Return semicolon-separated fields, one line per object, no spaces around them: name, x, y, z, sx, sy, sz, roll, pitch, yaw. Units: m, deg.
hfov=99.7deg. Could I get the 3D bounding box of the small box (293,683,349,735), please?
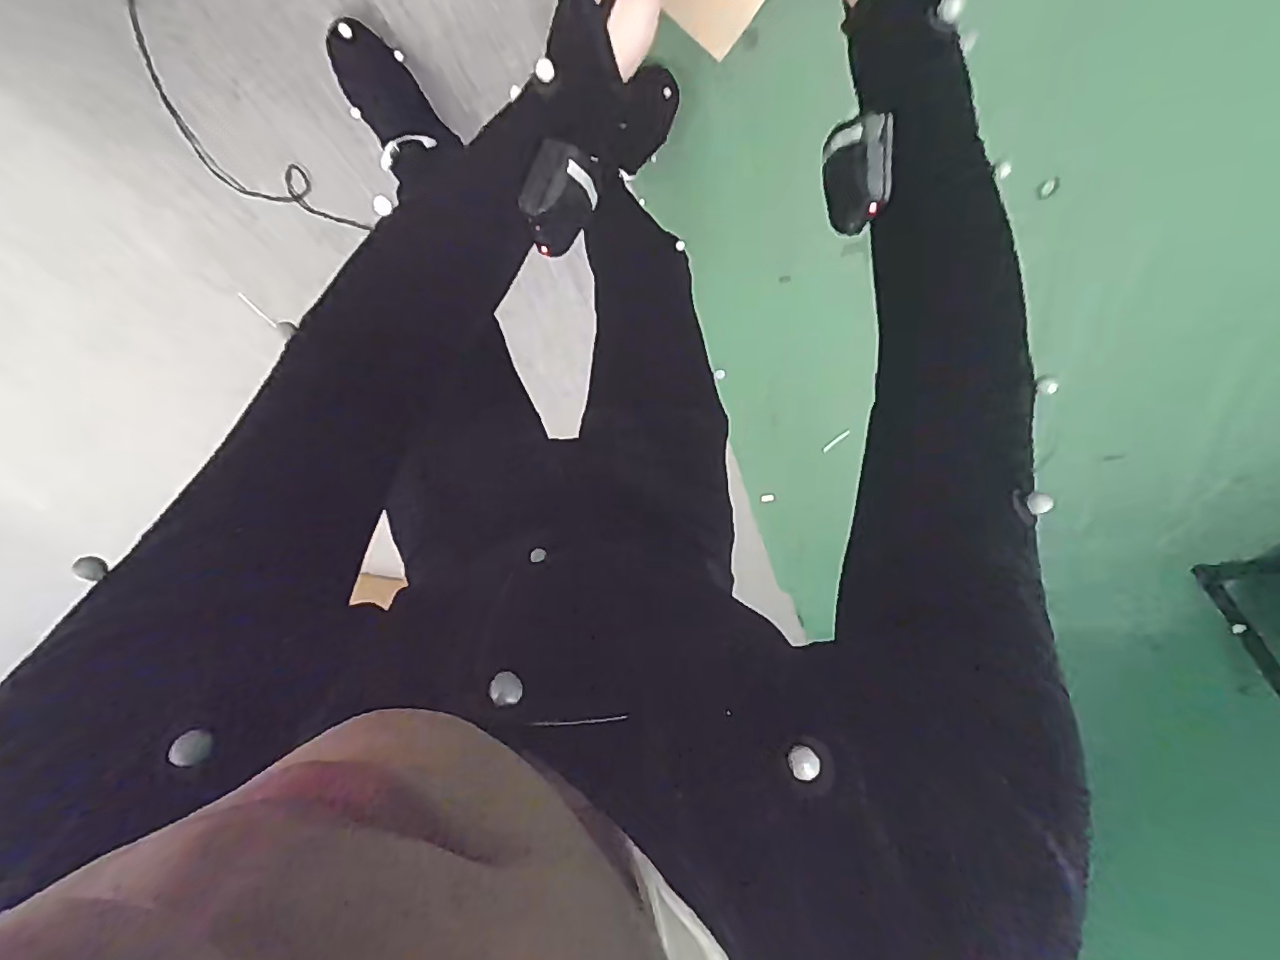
small box;-1.338;0.961;2.268;0.168;0.176;0.179;14;141;-20
